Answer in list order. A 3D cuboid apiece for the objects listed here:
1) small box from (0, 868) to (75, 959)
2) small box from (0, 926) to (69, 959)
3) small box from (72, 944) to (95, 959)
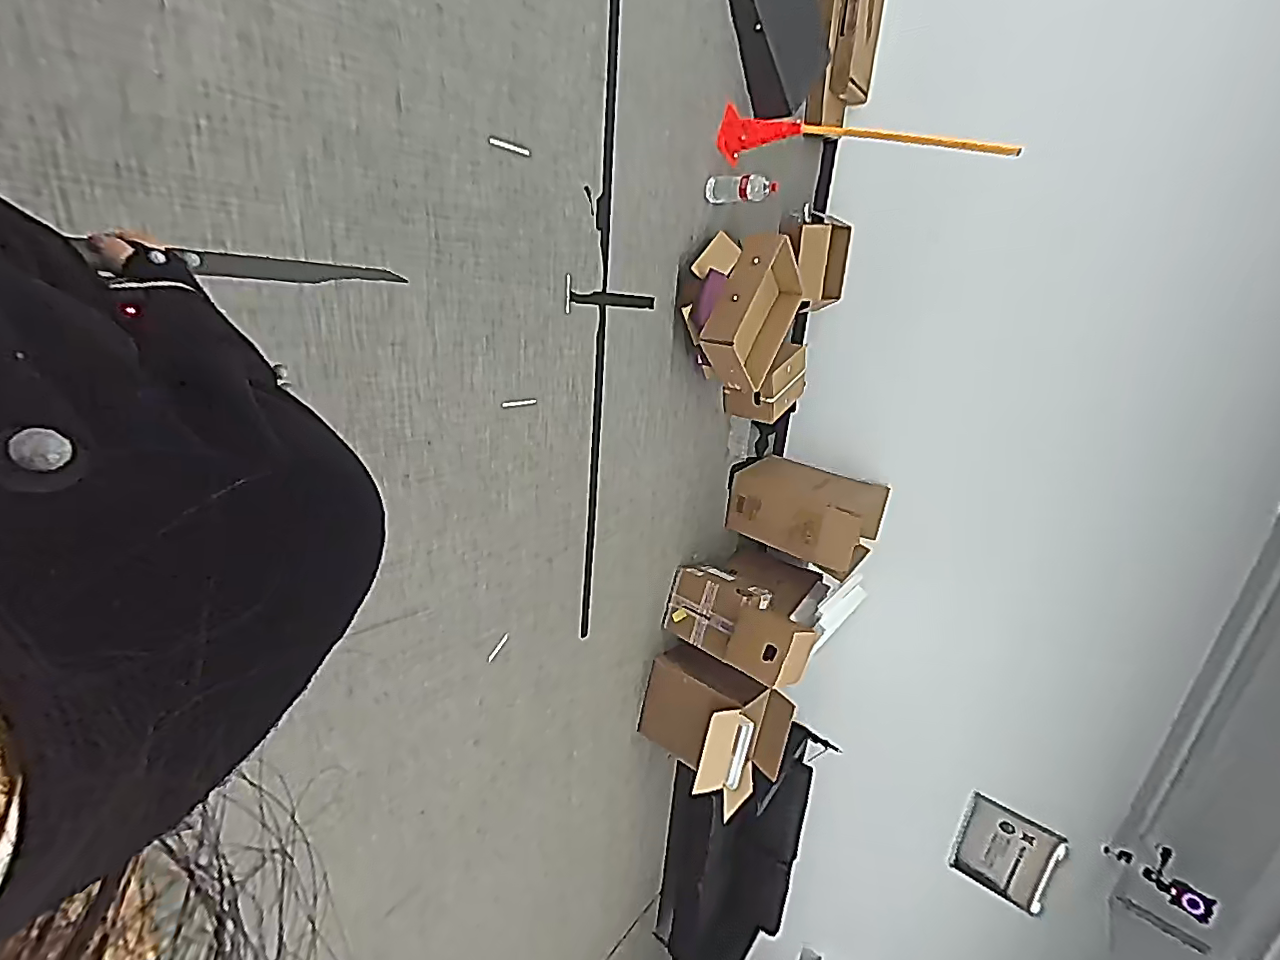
[{"bbox_3d":[-1.338,0.965,1.131,0.168,0.176,0.179,-21,123,-48],"label":"small box"},{"bbox_3d":[-1.213,1.022,1.040,0.168,0.176,0.179,-17,120,-50],"label":"small box"},{"bbox_3d":[-1.349,1.226,1.238,0.168,0.176,0.179,-27,126,-45],"label":"small box"}]
